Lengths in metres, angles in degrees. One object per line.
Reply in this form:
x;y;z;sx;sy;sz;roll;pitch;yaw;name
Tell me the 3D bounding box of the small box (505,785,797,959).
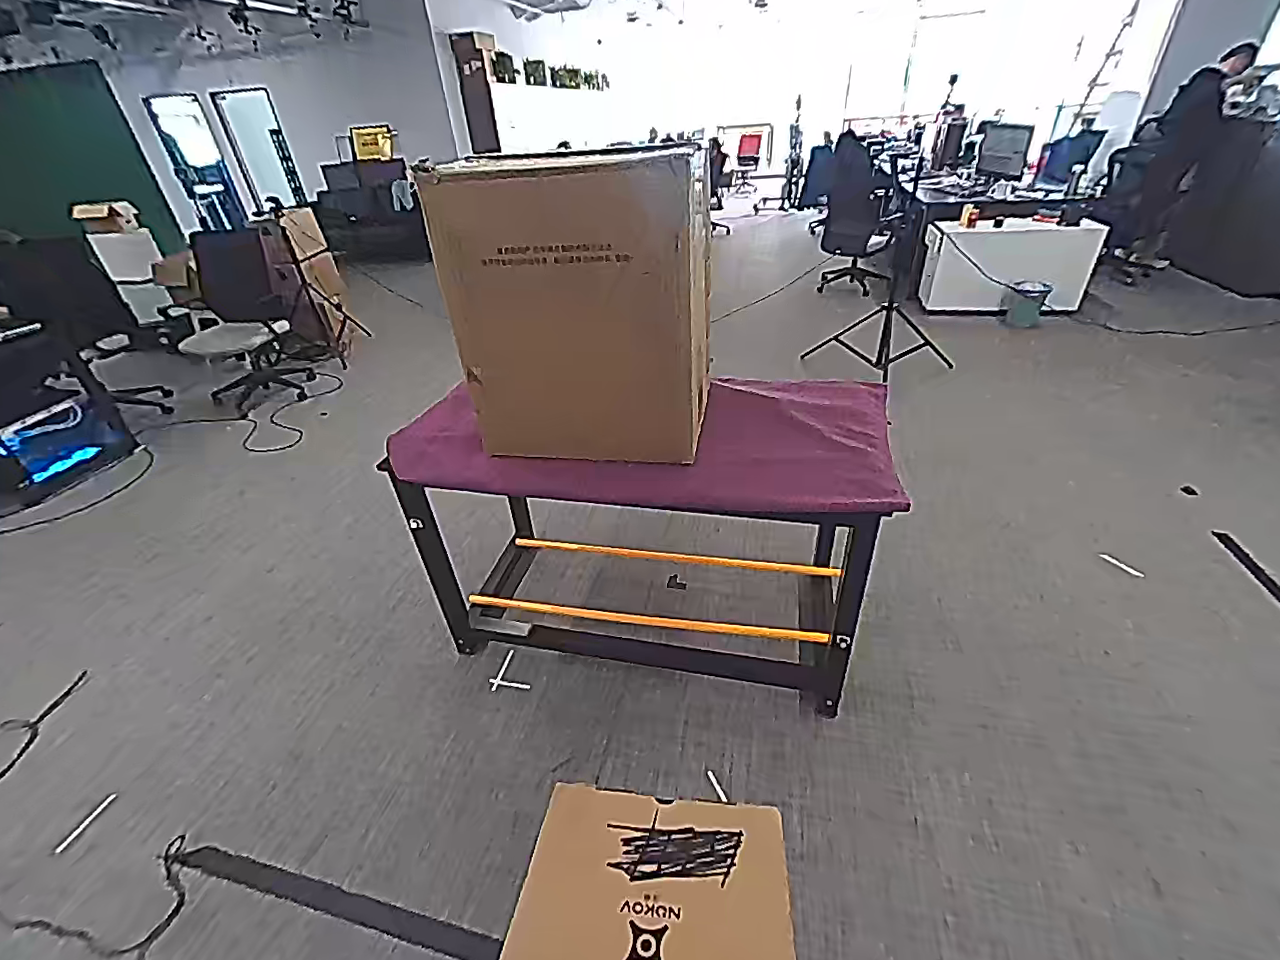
0.010;0.340;0.348;0.168;0.176;0.179;1;22;8;small box
